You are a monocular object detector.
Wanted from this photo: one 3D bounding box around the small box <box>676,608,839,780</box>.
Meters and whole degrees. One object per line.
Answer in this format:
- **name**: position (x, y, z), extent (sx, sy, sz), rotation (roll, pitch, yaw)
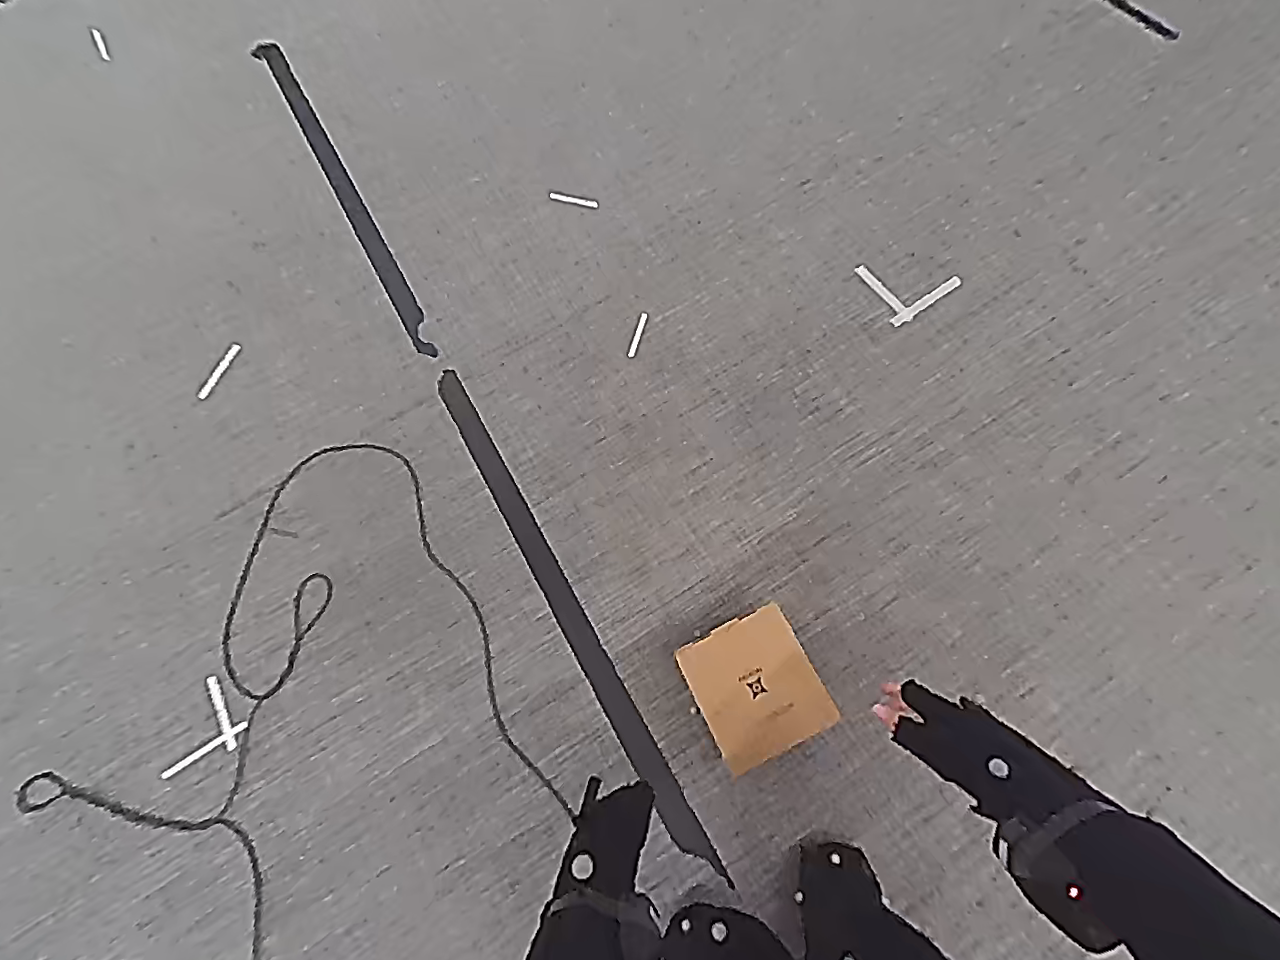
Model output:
- **small box**: position (0.163, 0.316, 0.817), extent (0.168, 0.176, 0.179), rotation (-26, 71, -4)
